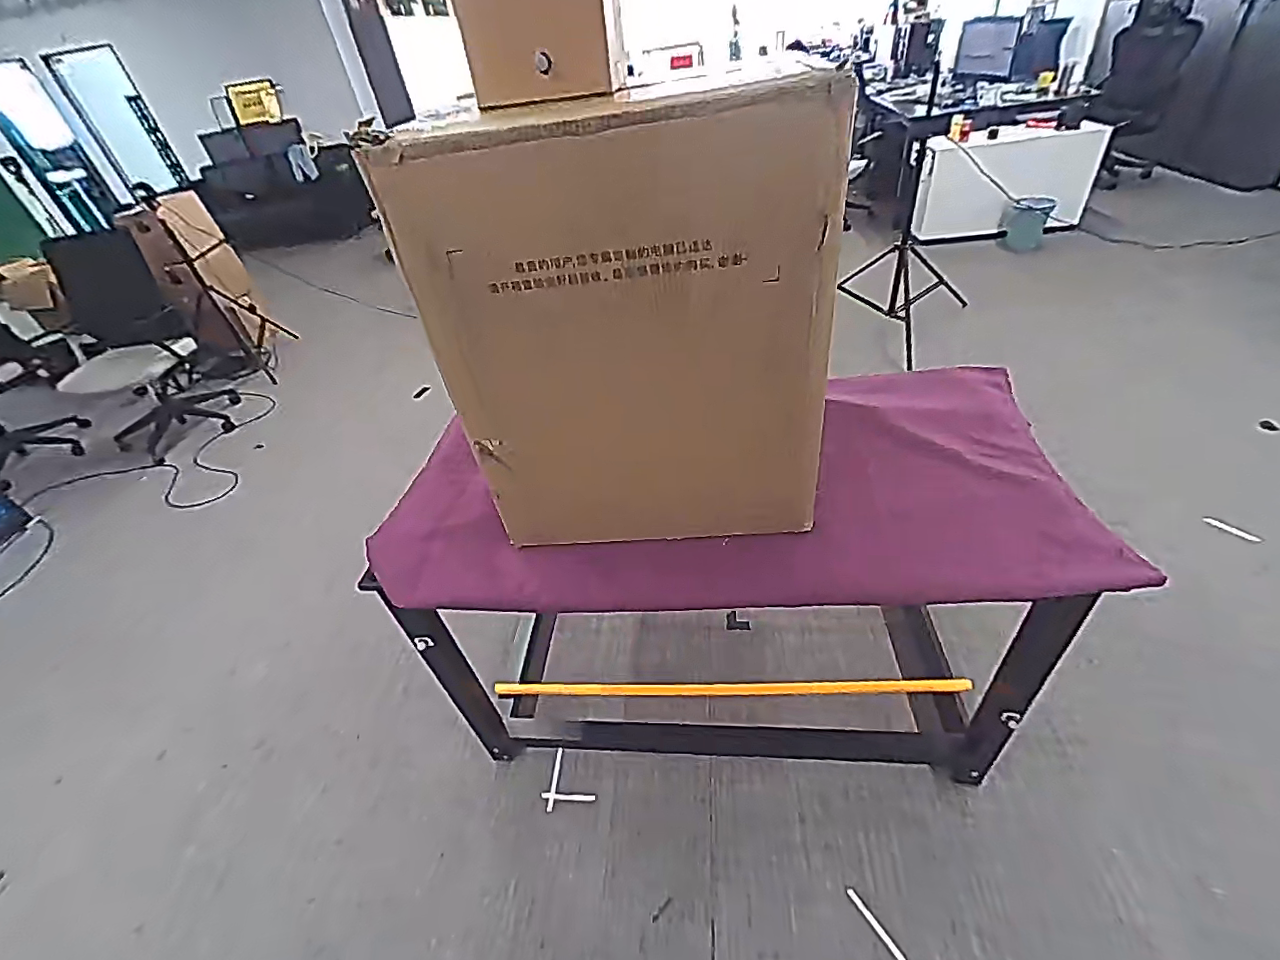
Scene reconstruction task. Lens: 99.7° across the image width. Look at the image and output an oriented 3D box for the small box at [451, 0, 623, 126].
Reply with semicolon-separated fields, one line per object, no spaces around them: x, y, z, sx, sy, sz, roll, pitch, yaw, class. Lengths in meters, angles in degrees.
-0.124;-0.567;0.685;0.179;0.176;0.168;-2;40;9;small box
